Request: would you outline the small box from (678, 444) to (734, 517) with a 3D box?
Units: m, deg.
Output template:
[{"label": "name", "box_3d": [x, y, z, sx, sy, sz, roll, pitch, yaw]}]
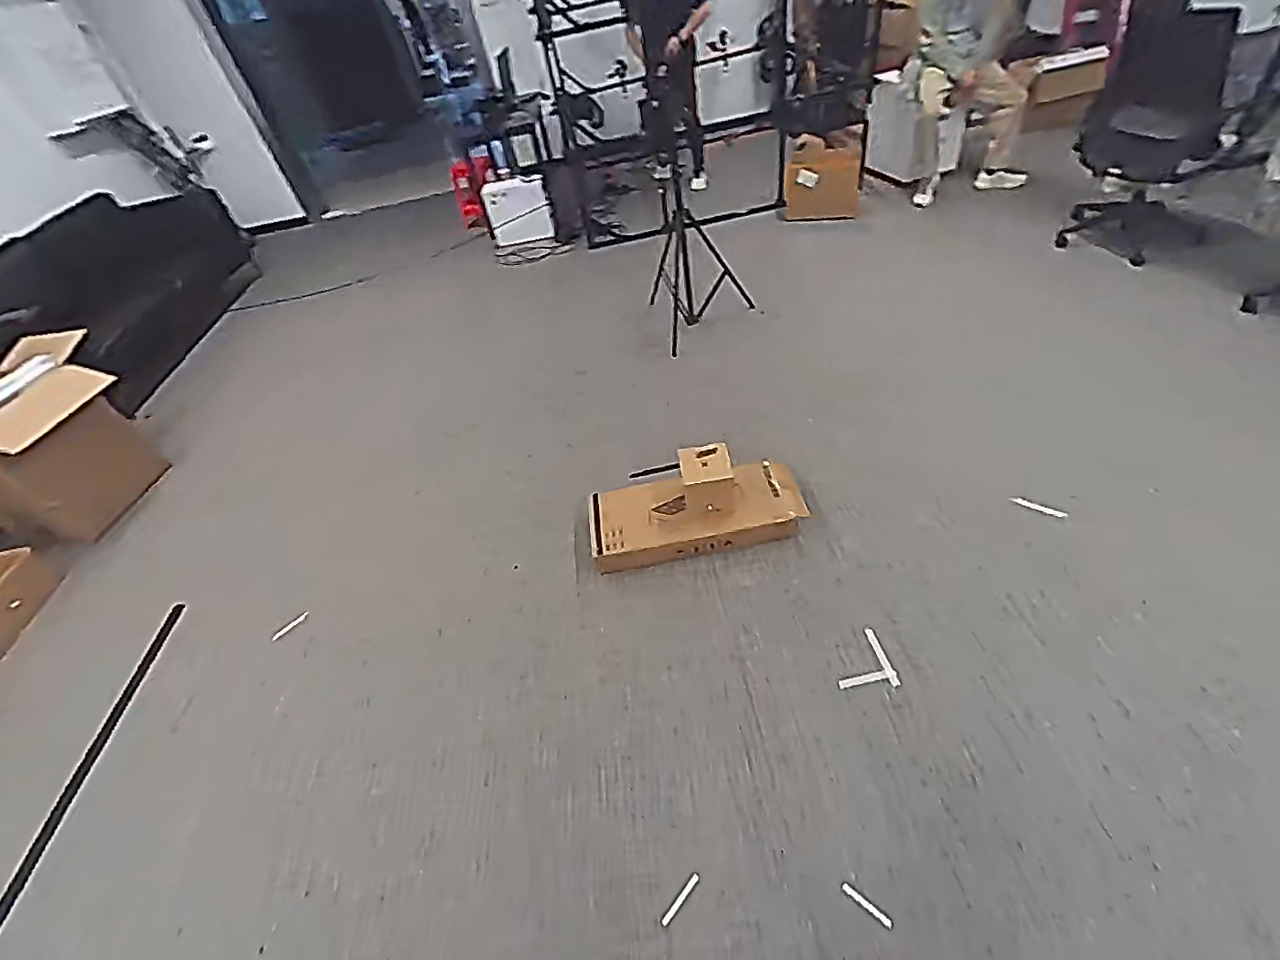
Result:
[{"label": "small box", "box_3d": [0.227, 0.004, 1.855, 0.168, 0.176, 0.179, -9, 44, 5]}]
